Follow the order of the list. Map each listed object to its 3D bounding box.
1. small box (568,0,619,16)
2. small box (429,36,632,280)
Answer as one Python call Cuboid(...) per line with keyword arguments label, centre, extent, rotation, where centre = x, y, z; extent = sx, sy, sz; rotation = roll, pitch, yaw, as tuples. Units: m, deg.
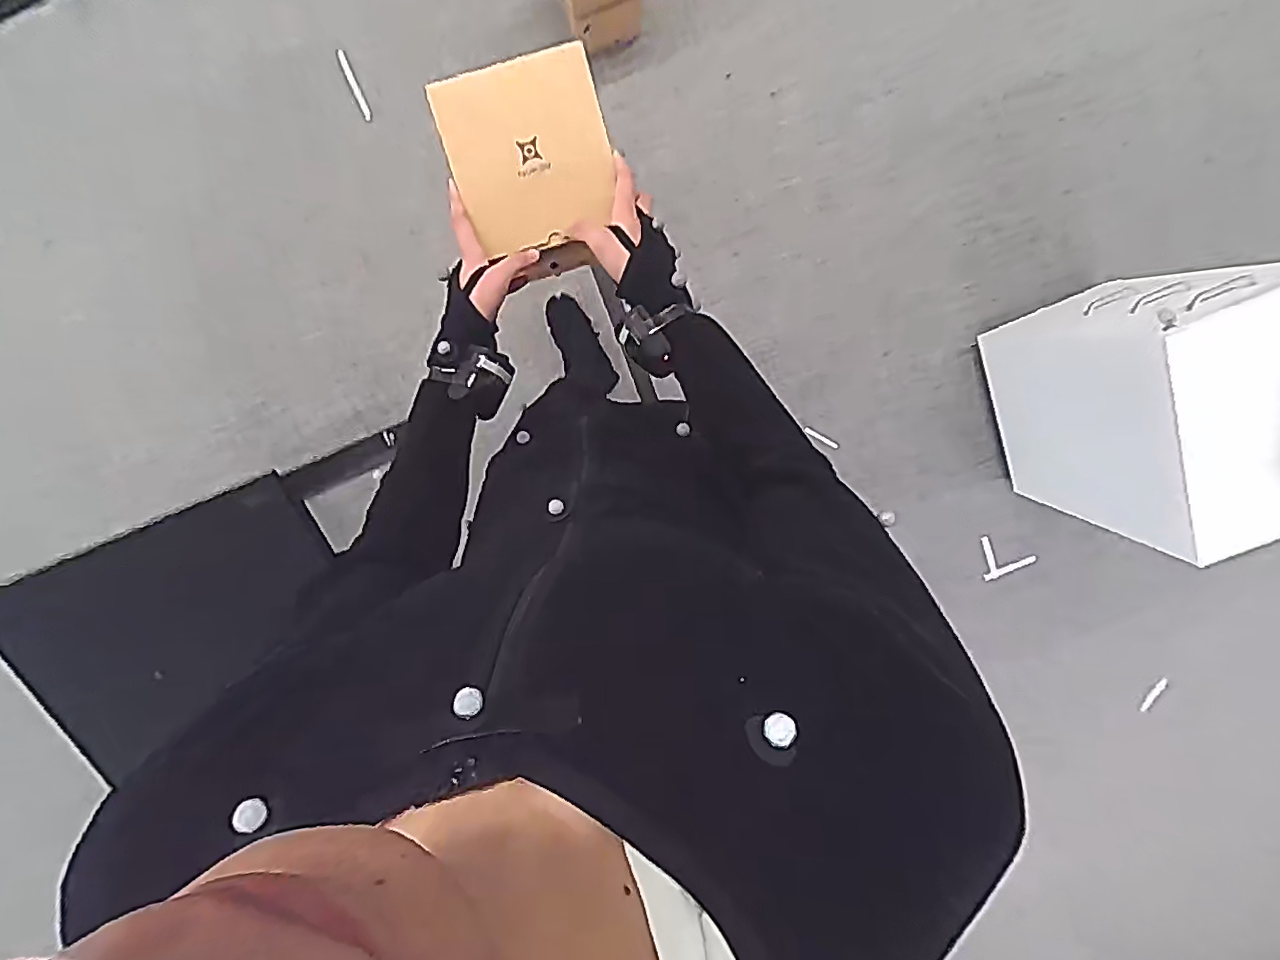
Cuboid(label="small box", centre=(-0.091, -1.095, 1.088), extent=(0.179, 0.176, 0.168), rotation=(-22, 104, 2))
Cuboid(label="small box", centre=(-0.113, -0.349, 0.622), extent=(0.168, 0.176, 0.179), rotation=(-16, 103, 0))
